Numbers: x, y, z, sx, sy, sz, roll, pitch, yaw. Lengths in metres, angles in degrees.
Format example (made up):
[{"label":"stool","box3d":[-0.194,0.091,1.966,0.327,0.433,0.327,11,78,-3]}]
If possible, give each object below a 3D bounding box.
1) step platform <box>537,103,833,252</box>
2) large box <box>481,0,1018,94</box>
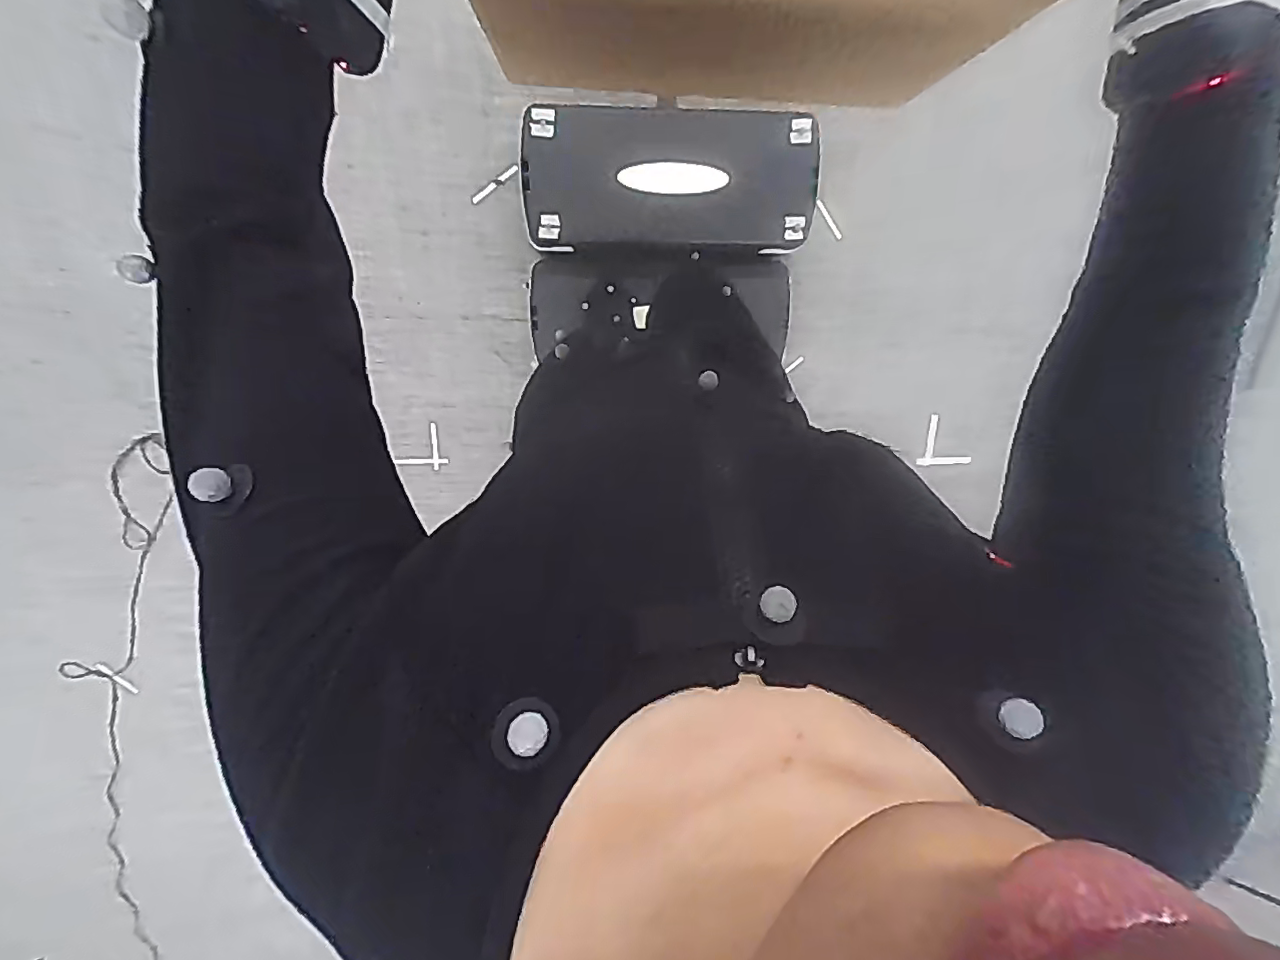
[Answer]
[{"label":"step platform","box3d":[0.102,-0.708,1.287,0.684,0.204,0.286,-2,108,-5]},{"label":"large box","box3d":[0.079,-0.495,0.362,0.408,0.320,0.320,0,109,-4]}]
